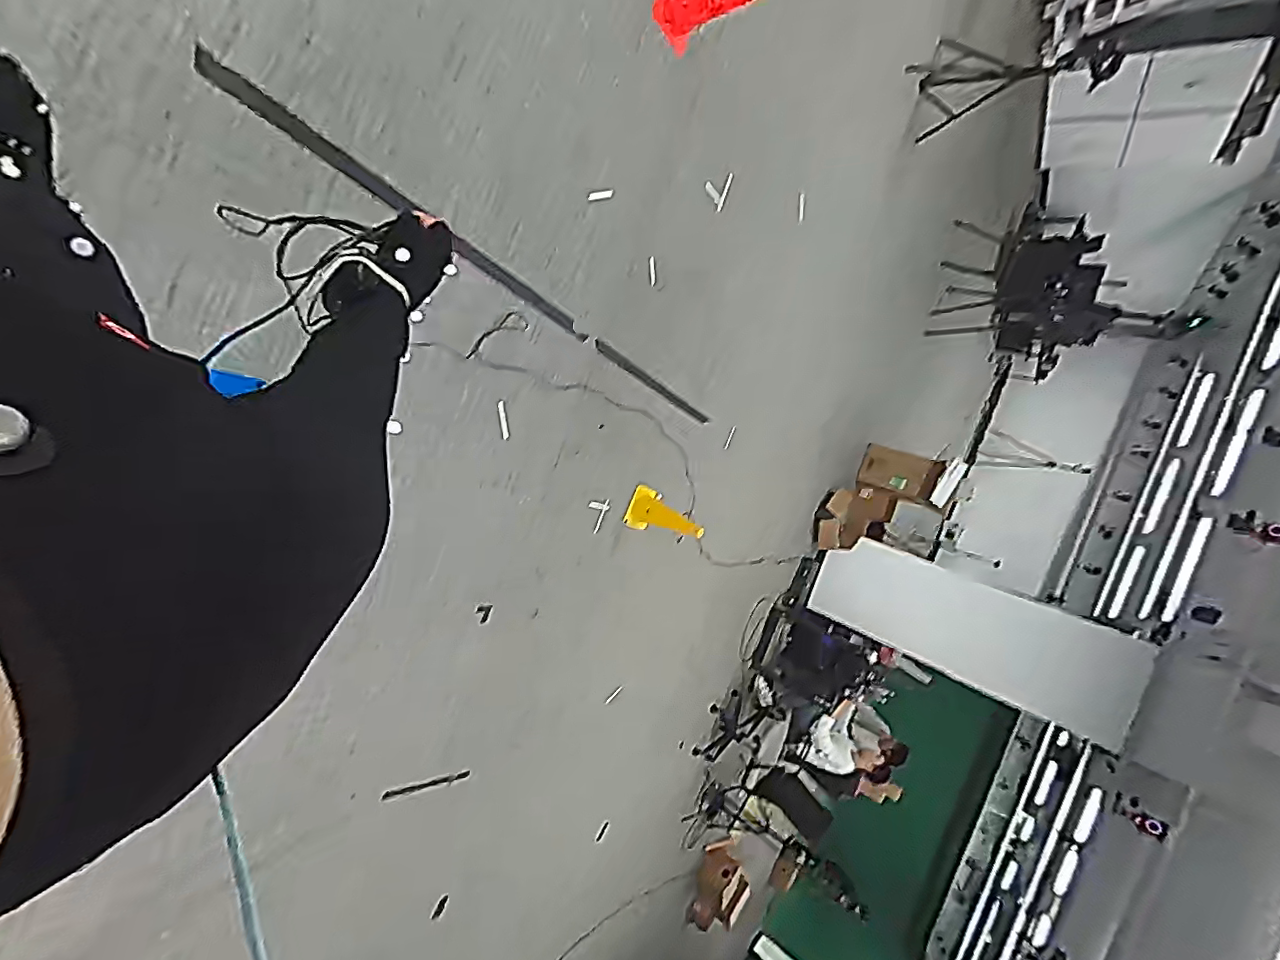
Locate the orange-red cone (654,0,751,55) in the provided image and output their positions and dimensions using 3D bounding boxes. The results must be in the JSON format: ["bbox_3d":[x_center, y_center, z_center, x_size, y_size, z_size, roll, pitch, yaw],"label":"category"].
[{"bbox_3d":[0.253,-1.585,1.777,0.199,0.360,0.198,14,95,-54],"label":"orange-red cone"}]

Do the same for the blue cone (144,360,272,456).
[{"bbox_3d":[-0.841,-0.107,1.104,0.193,0.380,0.192,13,97,-55],"label":"blue cone"}]
